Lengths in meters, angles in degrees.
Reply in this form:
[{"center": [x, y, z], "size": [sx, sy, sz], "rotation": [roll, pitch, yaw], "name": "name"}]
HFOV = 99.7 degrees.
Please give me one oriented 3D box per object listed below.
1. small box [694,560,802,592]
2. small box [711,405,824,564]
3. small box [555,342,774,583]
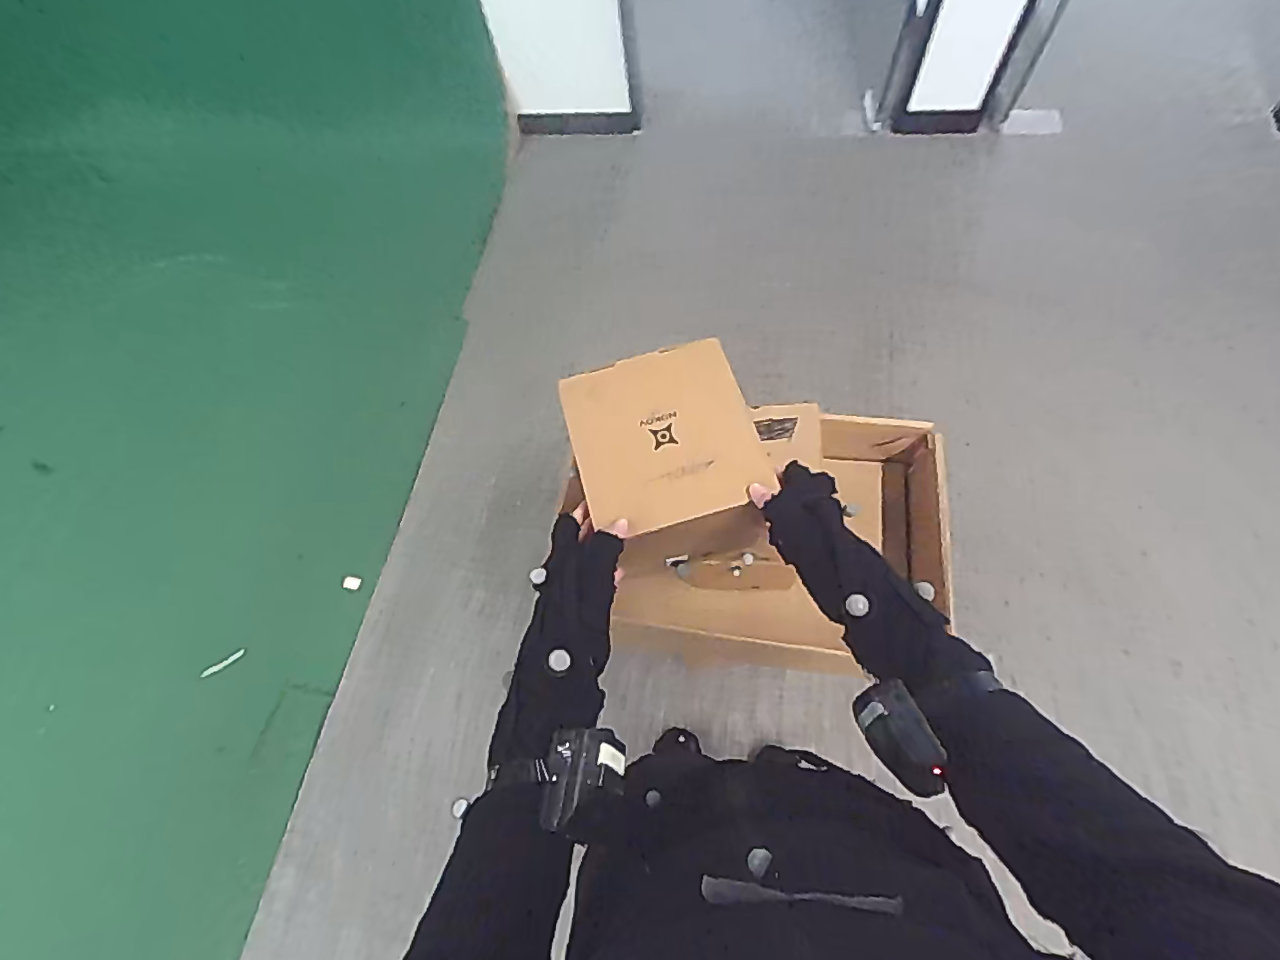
[{"center": [0.176, 0.081, 0.918], "size": [0.168, 0.176, 0.179], "rotation": [0, 65, 8], "name": "small box"}, {"center": [0.159, 0.011, 0.771], "size": [0.168, 0.176, 0.179], "rotation": [1, 67, 8], "name": "small box"}, {"center": [0.022, -0.009, 0.571], "size": [0.168, 0.176, 0.179], "rotation": [-17, 68, -2], "name": "small box"}]
